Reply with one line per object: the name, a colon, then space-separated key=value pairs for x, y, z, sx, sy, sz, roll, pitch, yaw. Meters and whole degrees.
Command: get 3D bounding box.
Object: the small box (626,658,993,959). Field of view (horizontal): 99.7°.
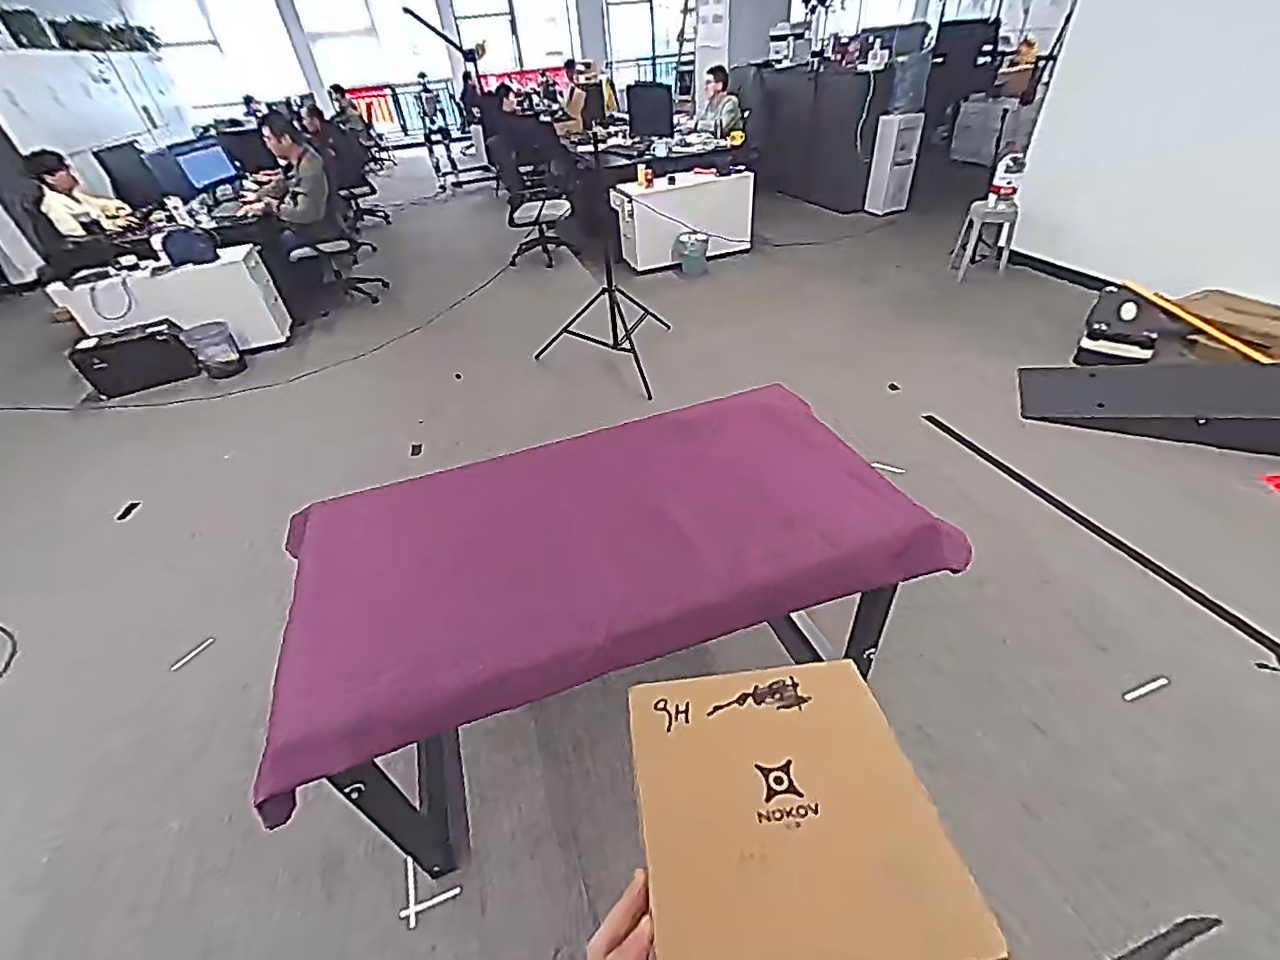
small box: x=0.083 y=0.252 z=0.362 sx=0.168 sy=0.176 sz=0.179 roll=-5 pitch=33 yaw=-4
